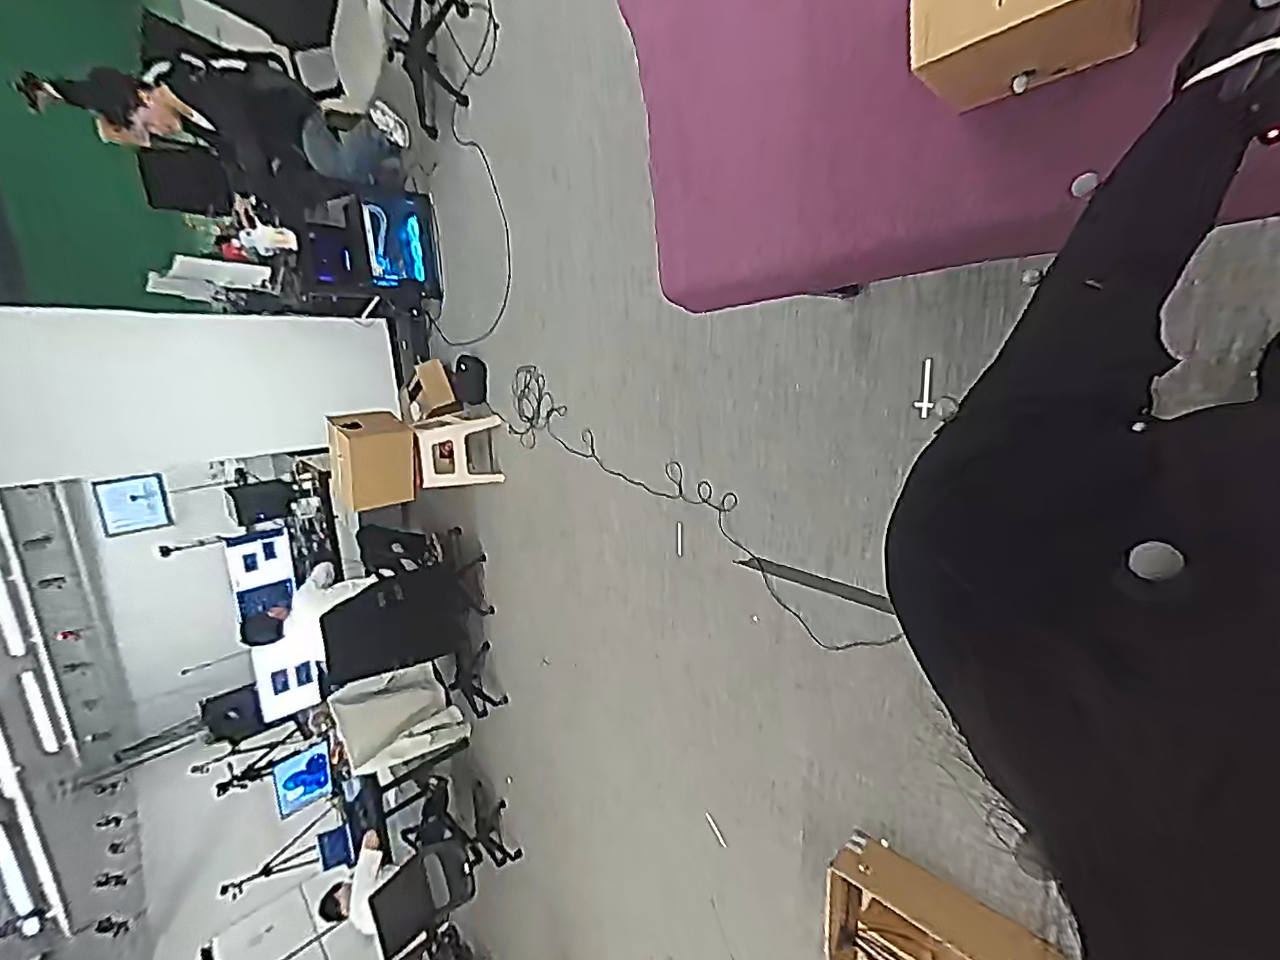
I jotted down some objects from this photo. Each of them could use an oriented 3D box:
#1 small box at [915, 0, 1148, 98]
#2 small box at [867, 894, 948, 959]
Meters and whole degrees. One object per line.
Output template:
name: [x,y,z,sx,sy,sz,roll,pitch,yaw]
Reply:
small box: [0.388,-0.522,0.531,0.168,0.176,0.179,7,107,46]
small box: [0.812,1.417,1.644,0.179,0.176,0.168,6,106,44]
